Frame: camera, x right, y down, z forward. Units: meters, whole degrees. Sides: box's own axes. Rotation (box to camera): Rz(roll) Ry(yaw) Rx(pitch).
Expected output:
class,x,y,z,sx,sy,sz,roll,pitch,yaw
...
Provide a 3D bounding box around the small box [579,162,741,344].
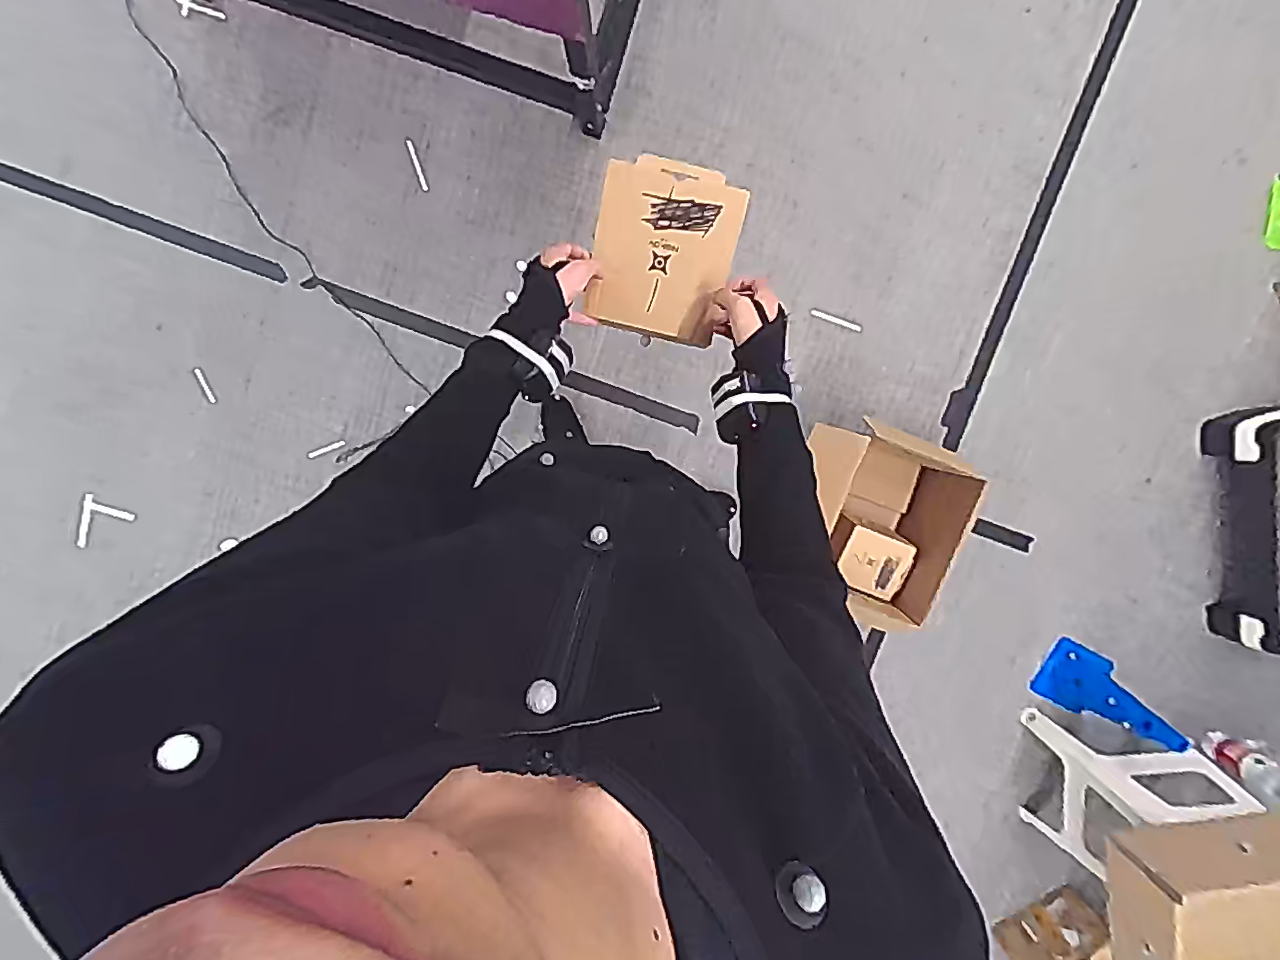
class,x,y,z,sx,sy,sz,roll,pitch,yaw
small box,0.027,-0.288,0.725,0.168,0.176,0.179,13,103,2
